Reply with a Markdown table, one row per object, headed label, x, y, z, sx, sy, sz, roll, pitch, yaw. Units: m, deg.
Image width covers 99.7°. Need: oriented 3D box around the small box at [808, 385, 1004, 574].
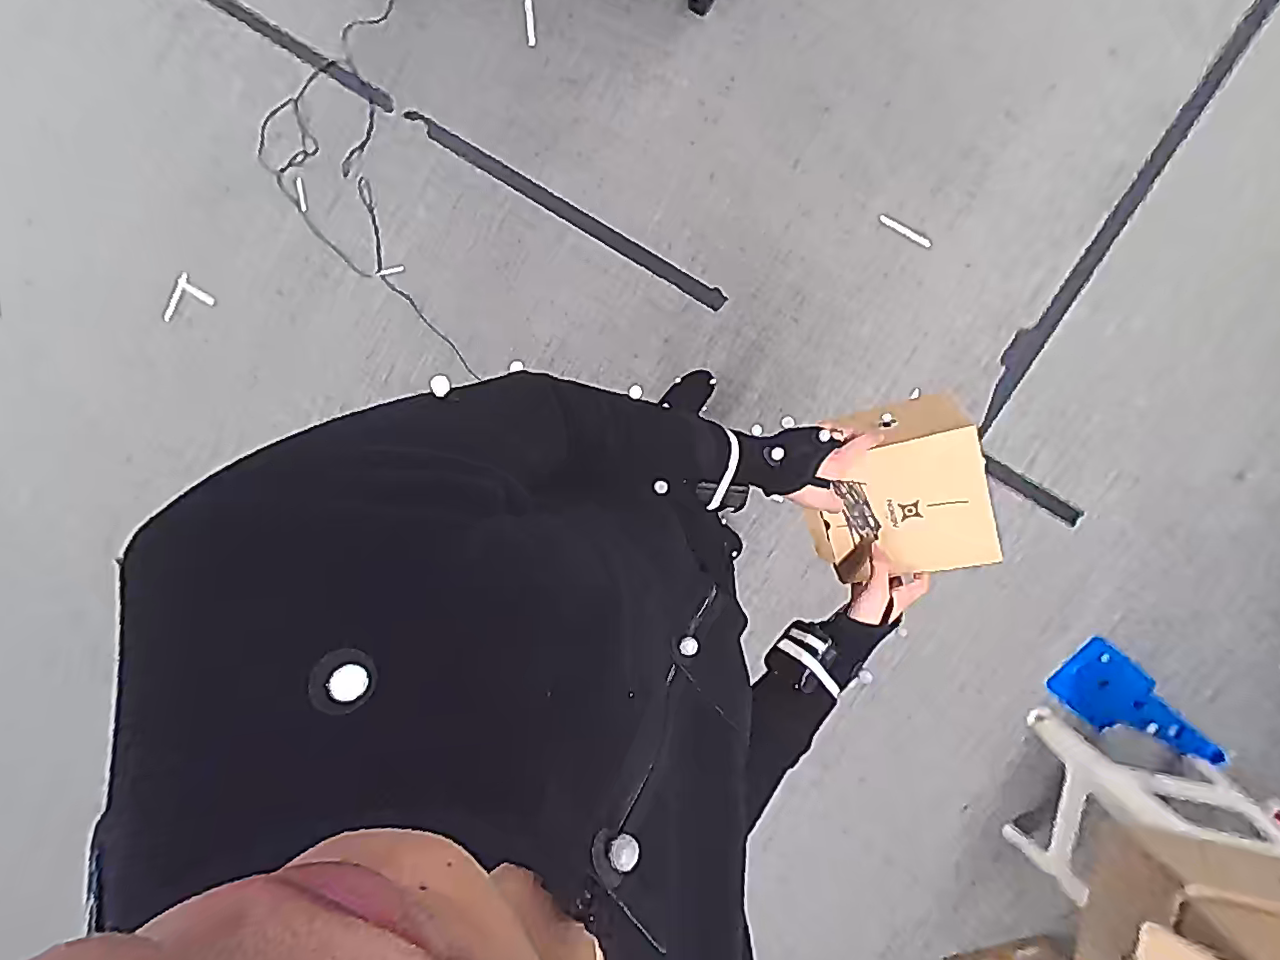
| label | x | y | z | sx | sy | sz | roll | pitch | yaw |
| --- | --- | --- | --- | --- | --- | --- | --- | --- | --- |
| small box | 0.323 | -0.005 | 0.679 | 0.179 | 0.176 | 0.168 | -15 | 106 | 24 |
